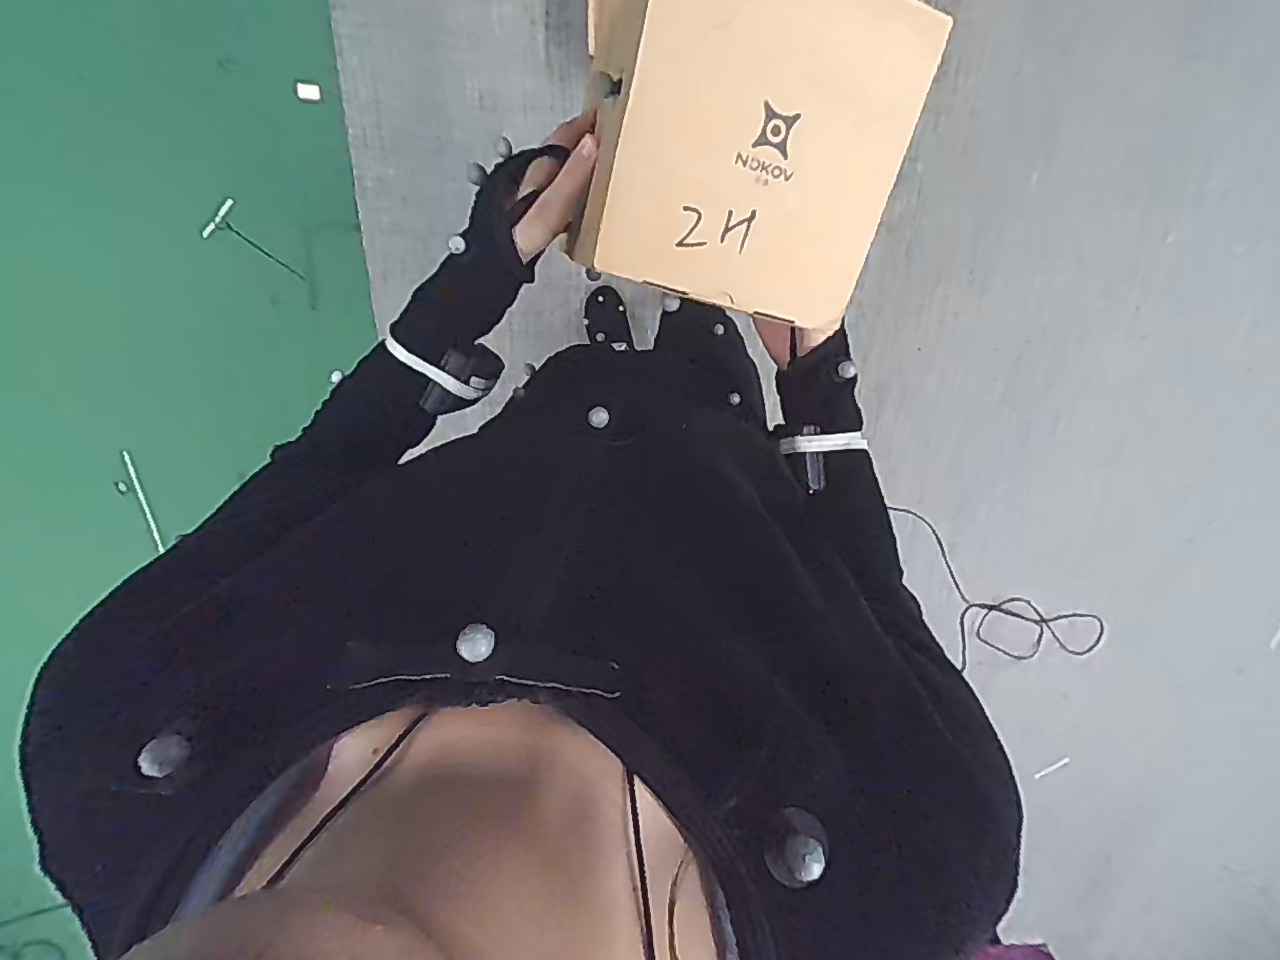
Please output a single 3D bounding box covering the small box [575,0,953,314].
[{"bbox_3d":[0.055,-0.231,0.368,0.168,0.176,0.179,11,112,-16],"label":"small box"}]
